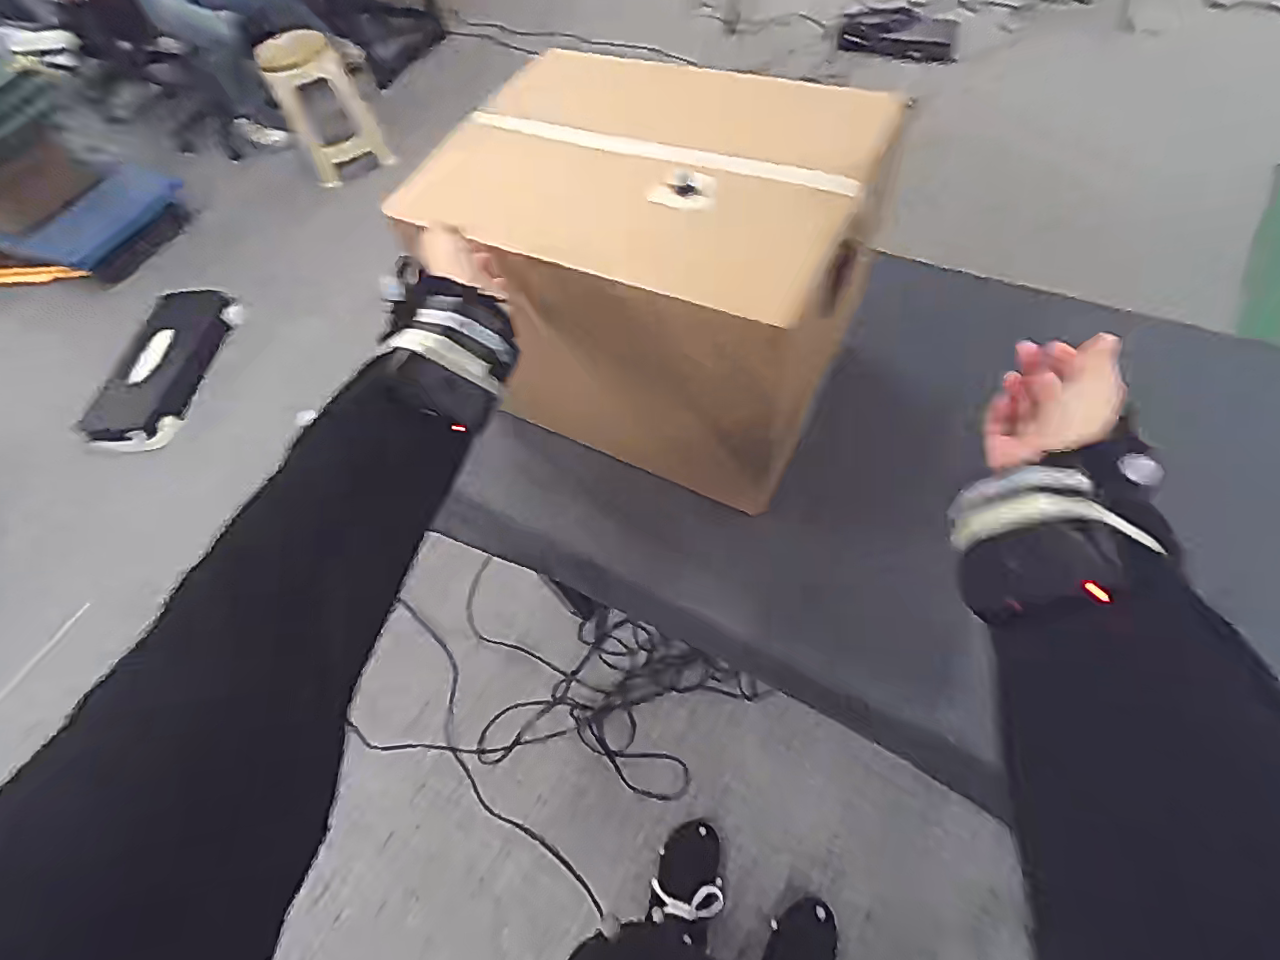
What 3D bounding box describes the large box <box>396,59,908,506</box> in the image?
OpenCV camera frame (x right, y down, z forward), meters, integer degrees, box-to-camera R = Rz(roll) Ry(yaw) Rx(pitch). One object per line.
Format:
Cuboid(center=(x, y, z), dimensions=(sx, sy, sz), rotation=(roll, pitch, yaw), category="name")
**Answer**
Cuboid(center=(0.023, -0.226, 0.638), dimensions=(0.408, 0.320, 0.320), rotation=(23, 67, 18), category="large box")
